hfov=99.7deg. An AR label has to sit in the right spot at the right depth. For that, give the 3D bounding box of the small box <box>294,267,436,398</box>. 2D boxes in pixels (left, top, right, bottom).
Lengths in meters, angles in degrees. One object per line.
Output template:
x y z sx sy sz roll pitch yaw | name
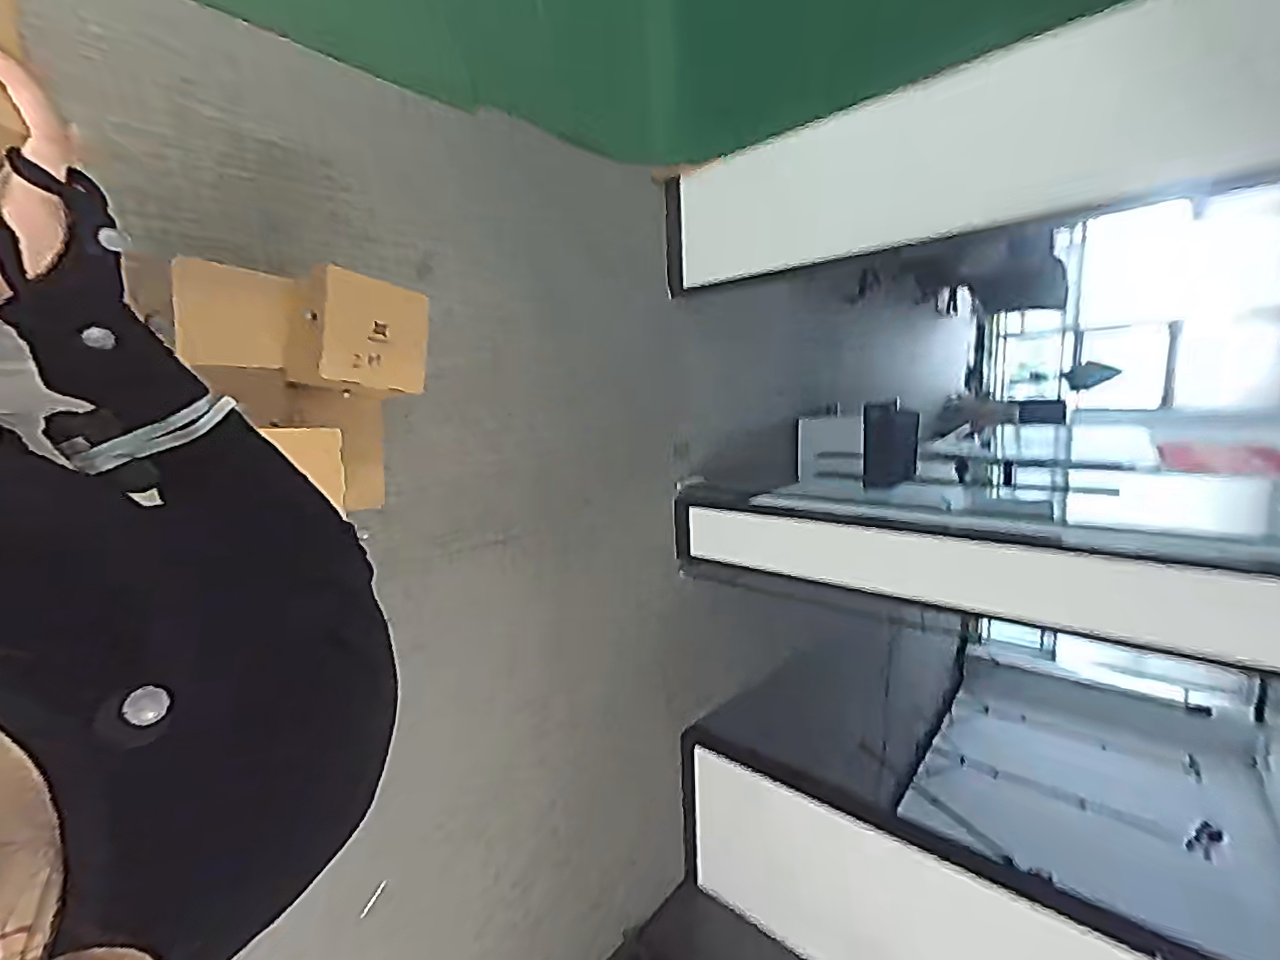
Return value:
-0.478 -0.243 0.937 0.168 0.176 0.179 5 92 -48 | small box

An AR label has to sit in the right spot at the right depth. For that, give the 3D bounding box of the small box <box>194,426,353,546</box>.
-0.578 0.000 0.851 0.179 0.176 0.168 -7 100 -47 | small box
